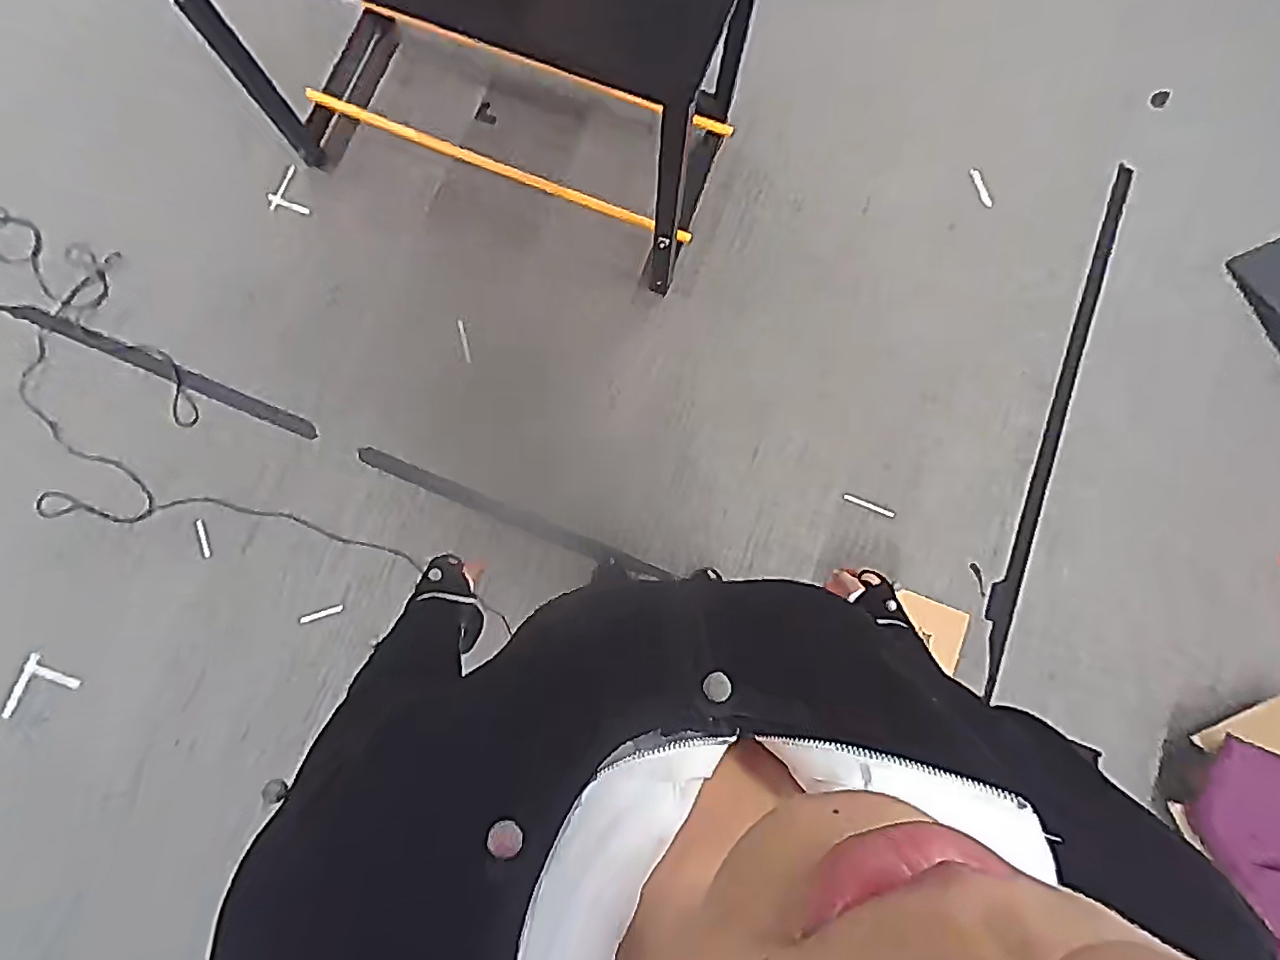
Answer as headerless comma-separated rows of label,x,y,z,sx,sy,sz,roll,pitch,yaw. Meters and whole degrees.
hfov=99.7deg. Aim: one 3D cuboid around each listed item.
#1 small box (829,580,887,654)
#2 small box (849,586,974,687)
small box,0.617,0.368,1.413,0.168,0.176,0.179,18,83,2
small box,0.617,0.350,1.249,0.179,0.176,0.168,22,82,3
